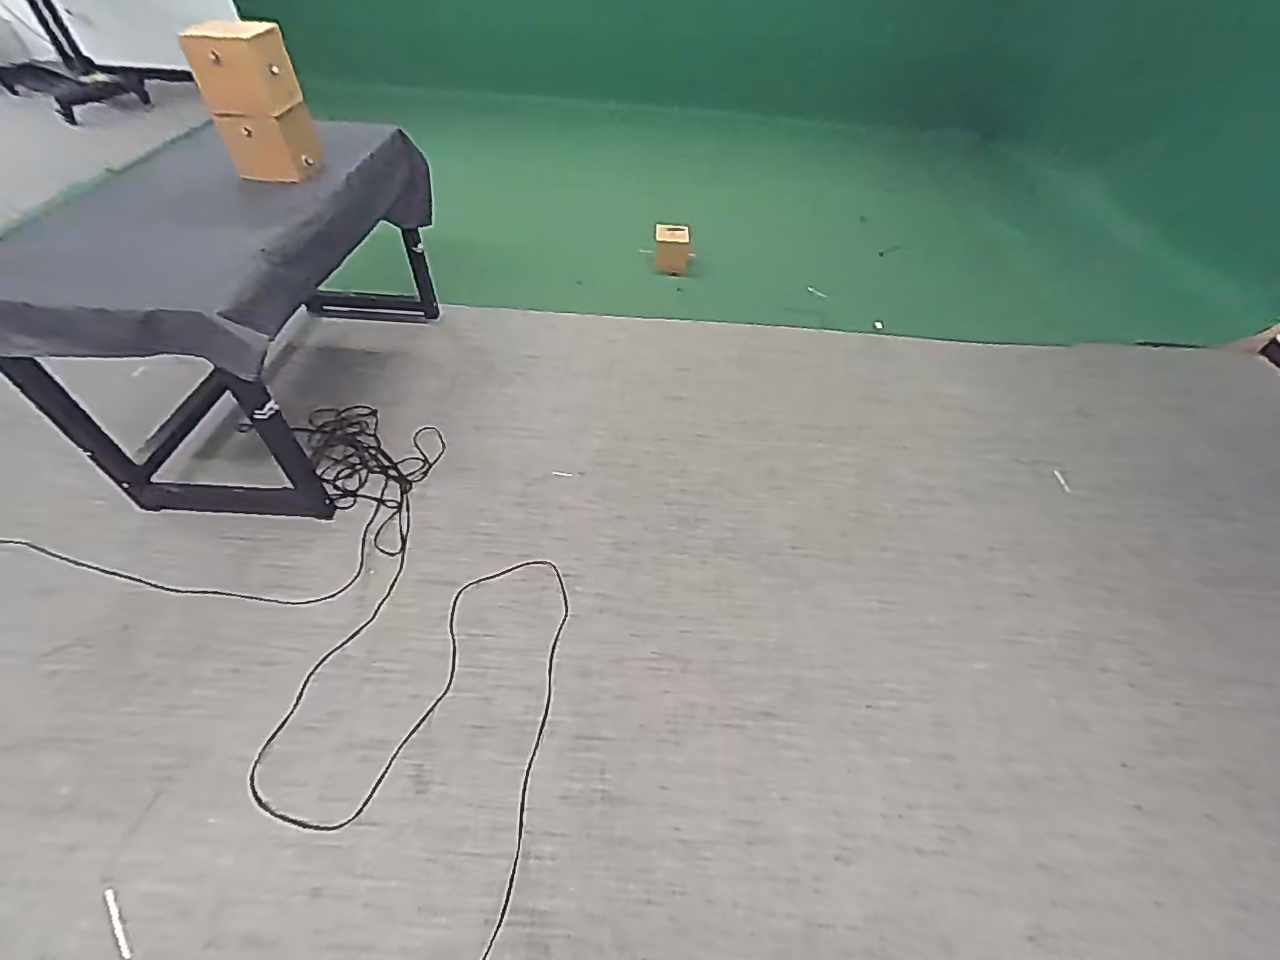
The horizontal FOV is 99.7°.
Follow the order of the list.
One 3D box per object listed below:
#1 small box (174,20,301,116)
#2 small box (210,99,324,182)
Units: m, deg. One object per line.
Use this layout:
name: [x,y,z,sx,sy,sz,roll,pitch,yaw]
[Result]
small box: [-1.029,-1.066,1.404,0.179,0.176,0.168,2,50,0]
small box: [-1.043,-0.963,1.530,0.179,0.176,0.168,4,50,0]
